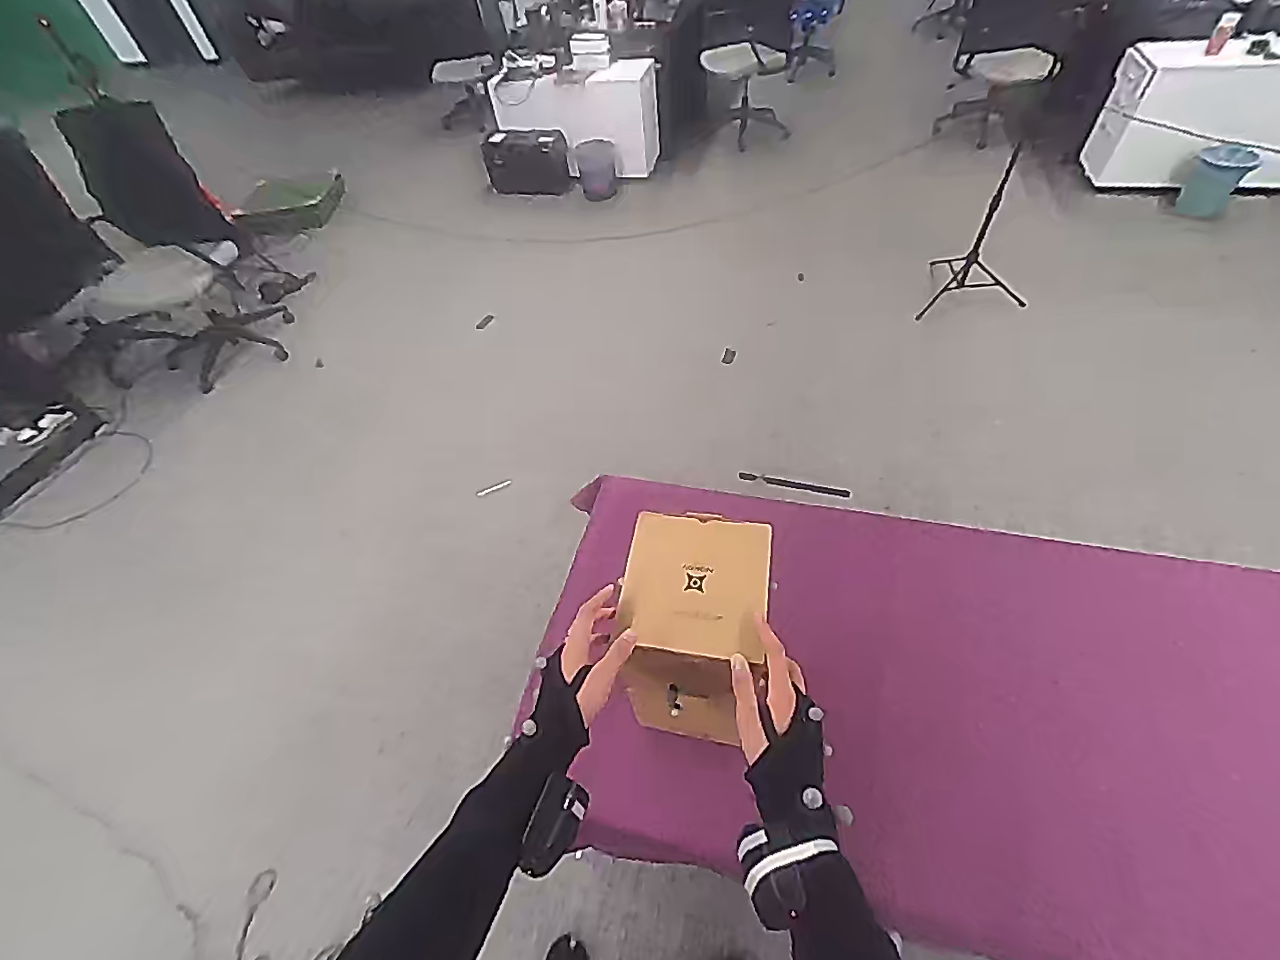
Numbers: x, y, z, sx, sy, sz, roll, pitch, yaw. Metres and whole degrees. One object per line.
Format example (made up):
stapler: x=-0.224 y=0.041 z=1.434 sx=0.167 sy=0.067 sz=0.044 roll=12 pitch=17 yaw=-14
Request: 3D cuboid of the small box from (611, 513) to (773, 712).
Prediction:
small box: x=0.070 y=0.167 z=0.679 sx=0.168 sy=0.176 sz=0.179 roll=6 pitch=53 yaw=11

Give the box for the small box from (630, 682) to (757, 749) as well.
small box: x=0.089 y=0.272 z=0.803 sx=0.168 sy=0.176 sz=0.179 roll=7 pitch=52 yaw=12
